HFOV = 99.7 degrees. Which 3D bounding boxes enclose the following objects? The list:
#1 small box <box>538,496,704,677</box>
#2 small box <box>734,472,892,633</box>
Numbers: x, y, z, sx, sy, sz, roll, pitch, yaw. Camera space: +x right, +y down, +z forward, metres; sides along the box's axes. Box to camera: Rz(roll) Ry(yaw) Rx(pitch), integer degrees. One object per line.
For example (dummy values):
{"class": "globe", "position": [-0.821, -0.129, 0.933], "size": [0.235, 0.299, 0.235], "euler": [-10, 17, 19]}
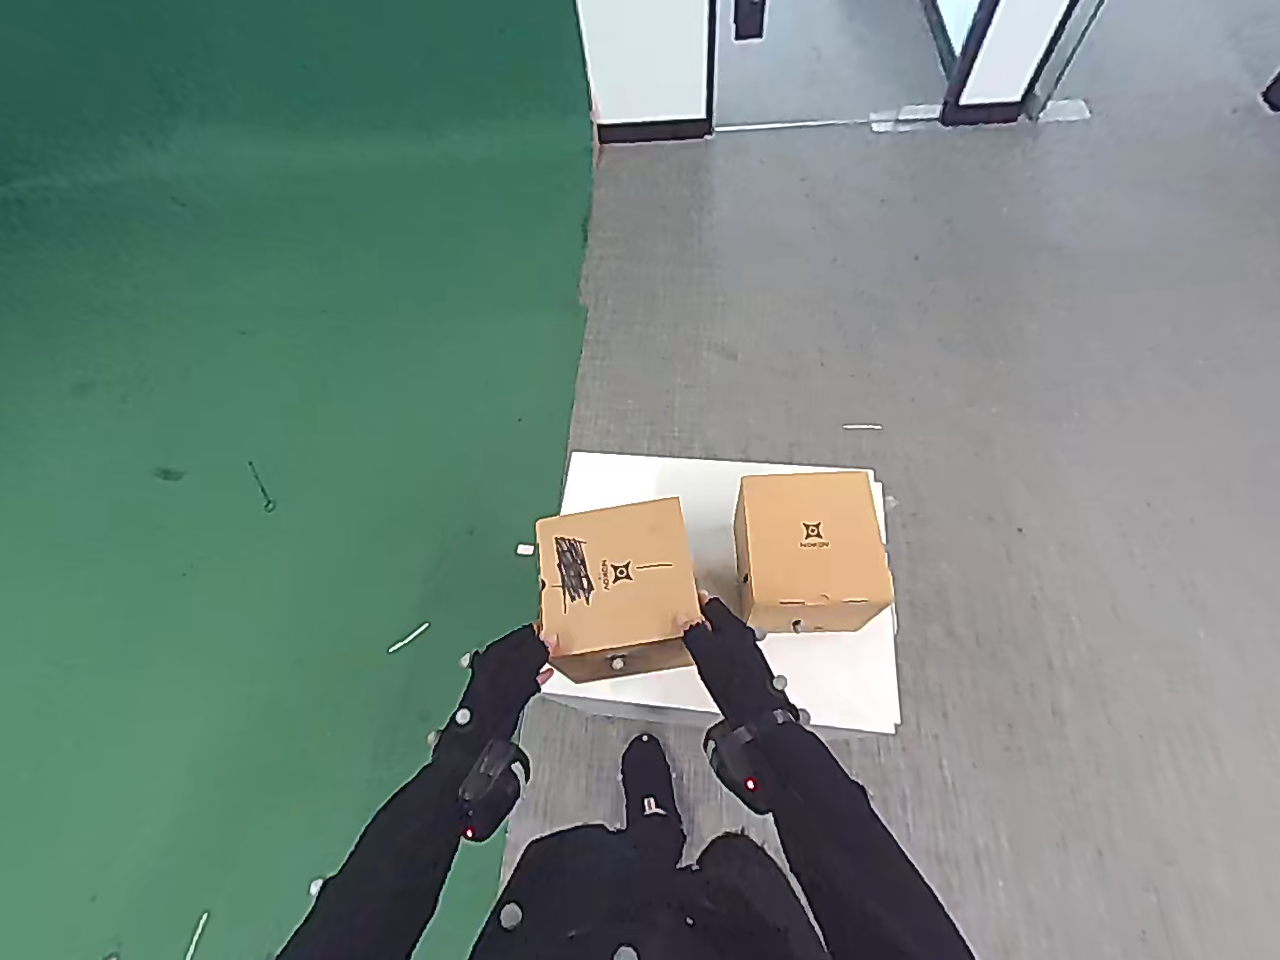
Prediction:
{"class": "small box", "position": [-0.019, 0.141, 0.678], "size": [0.179, 0.176, 0.168], "euler": [-9, 60, 2]}
{"class": "small box", "position": [0.222, 0.105, 0.746], "size": [0.168, 0.176, 0.179], "euler": [-3, 63, 5]}
